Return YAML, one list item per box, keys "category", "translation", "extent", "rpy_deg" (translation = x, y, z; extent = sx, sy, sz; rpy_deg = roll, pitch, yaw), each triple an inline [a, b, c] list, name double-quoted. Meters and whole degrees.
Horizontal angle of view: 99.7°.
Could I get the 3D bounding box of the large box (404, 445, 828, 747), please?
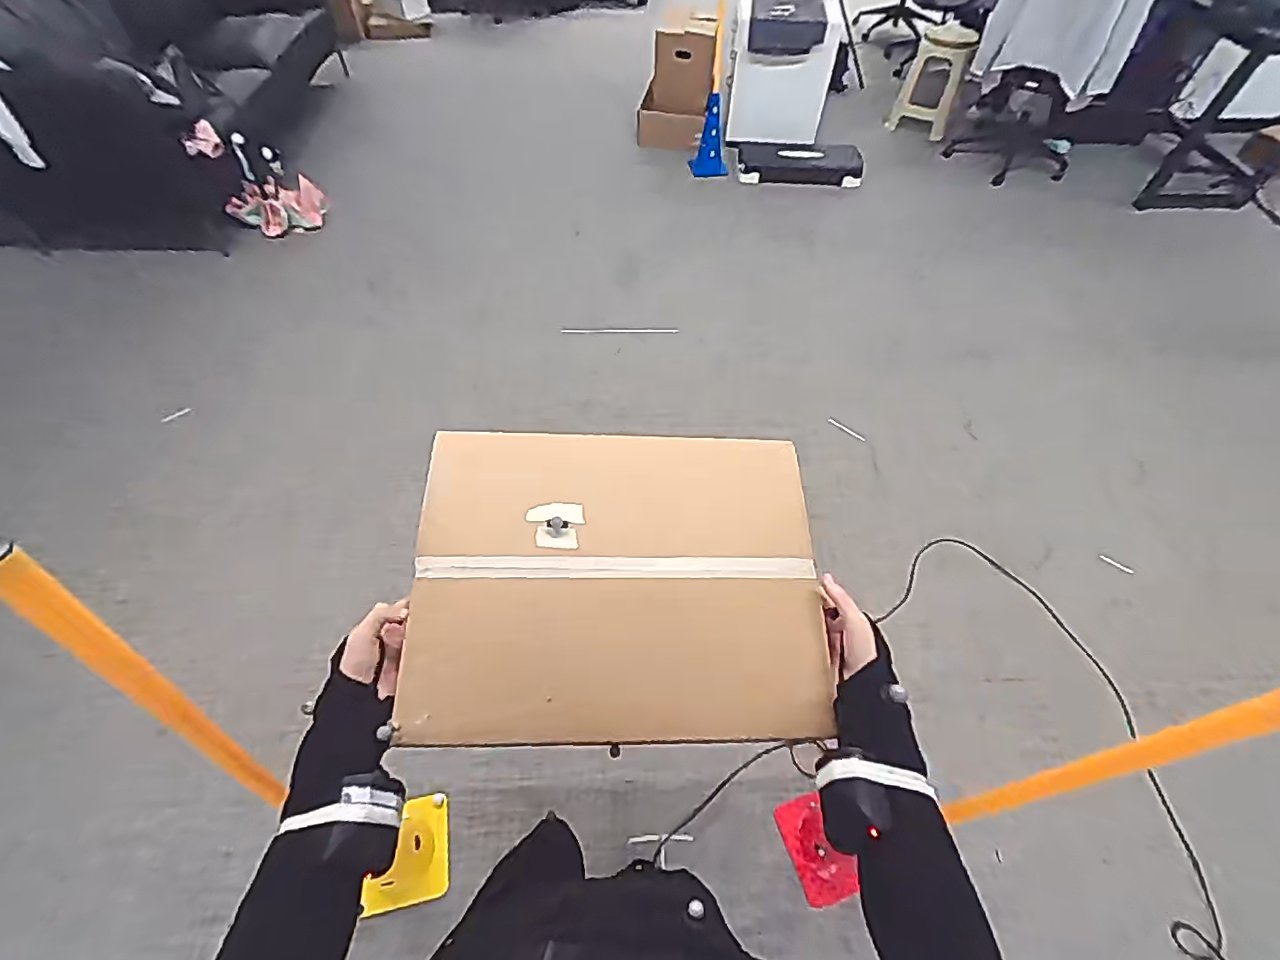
- category: "large box"
  translation: [-0.030, 0.161, 0.697]
  extent: [0.408, 0.320, 0.320]
  rpy_deg: [1, 64, -4]
